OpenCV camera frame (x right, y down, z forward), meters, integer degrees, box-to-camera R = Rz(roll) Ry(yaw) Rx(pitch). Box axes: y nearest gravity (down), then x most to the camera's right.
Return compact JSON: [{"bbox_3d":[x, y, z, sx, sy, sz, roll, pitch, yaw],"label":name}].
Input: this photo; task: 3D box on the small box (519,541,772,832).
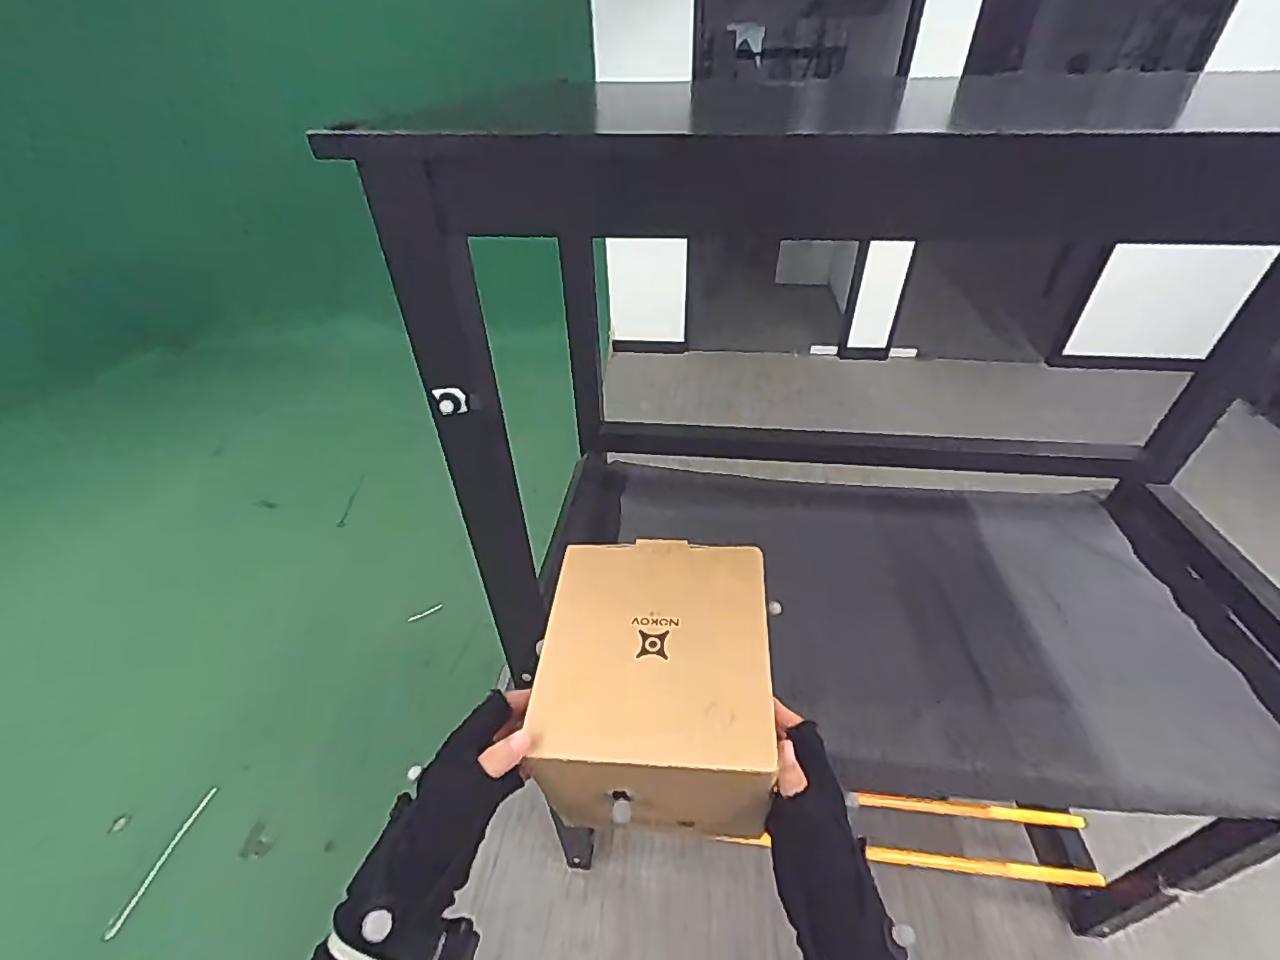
[{"bbox_3d":[0.017,0.170,0.450,0.168,0.176,0.179,0,43,7],"label":"small box"}]
